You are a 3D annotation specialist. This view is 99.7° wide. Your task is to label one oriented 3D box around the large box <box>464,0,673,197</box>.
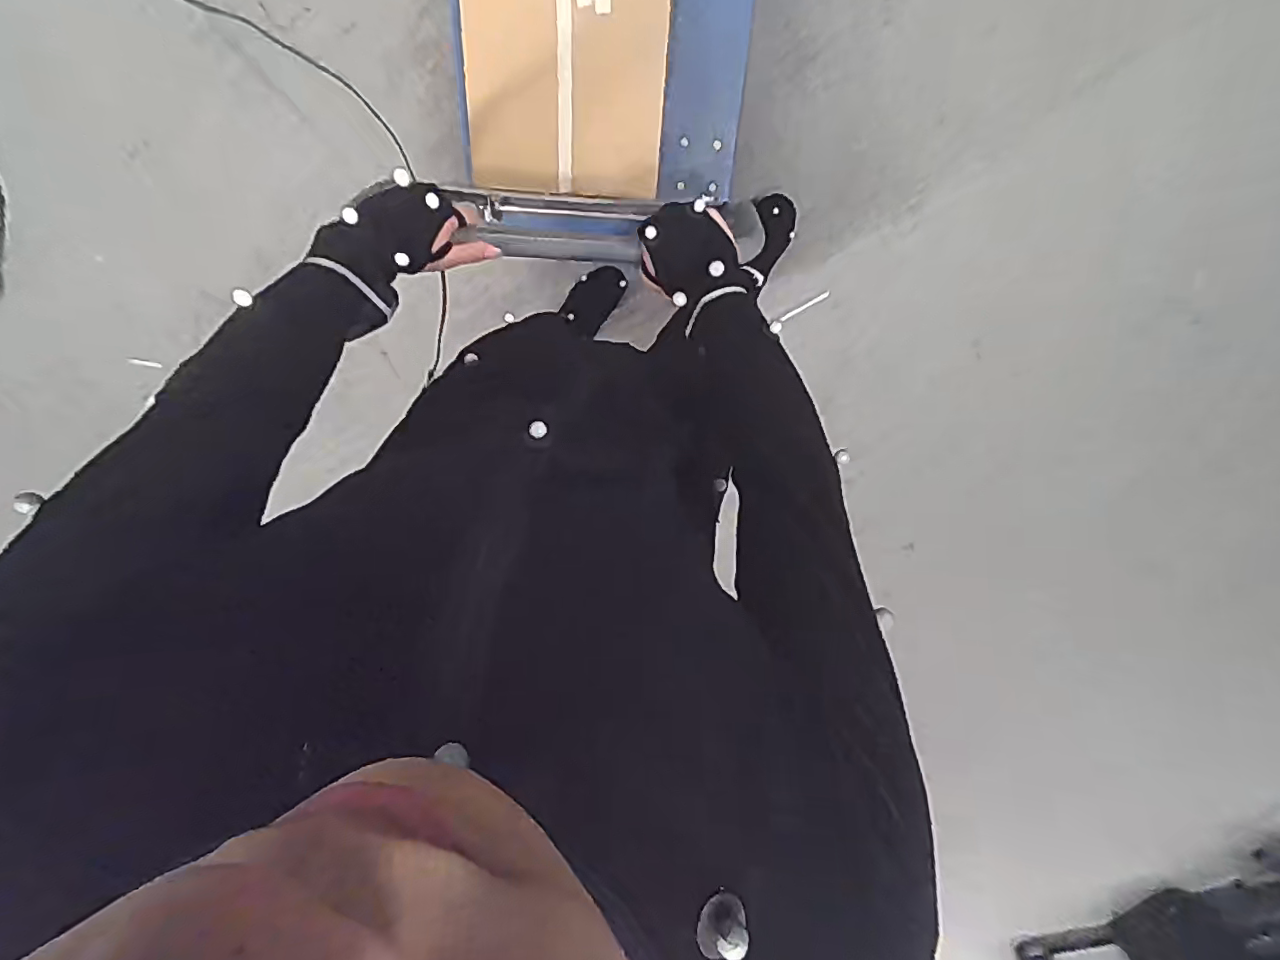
[{"bbox_3d":[-0.105,-0.733,0.954,0.320,0.320,0.408,4,119,-1],"label":"large box"}]
